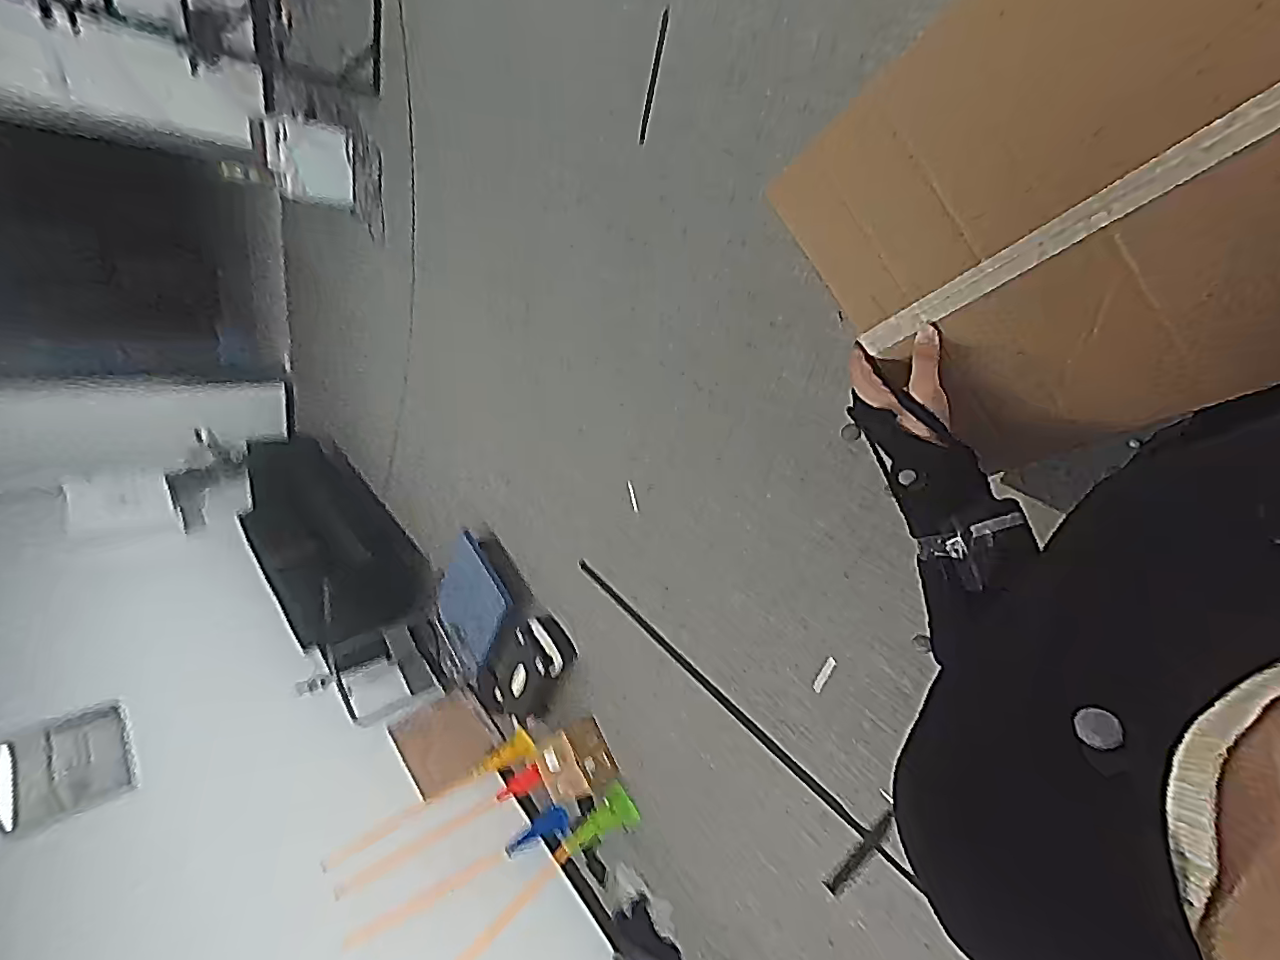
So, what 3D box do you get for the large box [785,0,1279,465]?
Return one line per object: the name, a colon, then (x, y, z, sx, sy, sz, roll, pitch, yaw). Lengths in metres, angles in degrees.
large box: (0.403, -0.273, 0.424, 0.320, 0.320, 0.408, 52, 138, -8)
